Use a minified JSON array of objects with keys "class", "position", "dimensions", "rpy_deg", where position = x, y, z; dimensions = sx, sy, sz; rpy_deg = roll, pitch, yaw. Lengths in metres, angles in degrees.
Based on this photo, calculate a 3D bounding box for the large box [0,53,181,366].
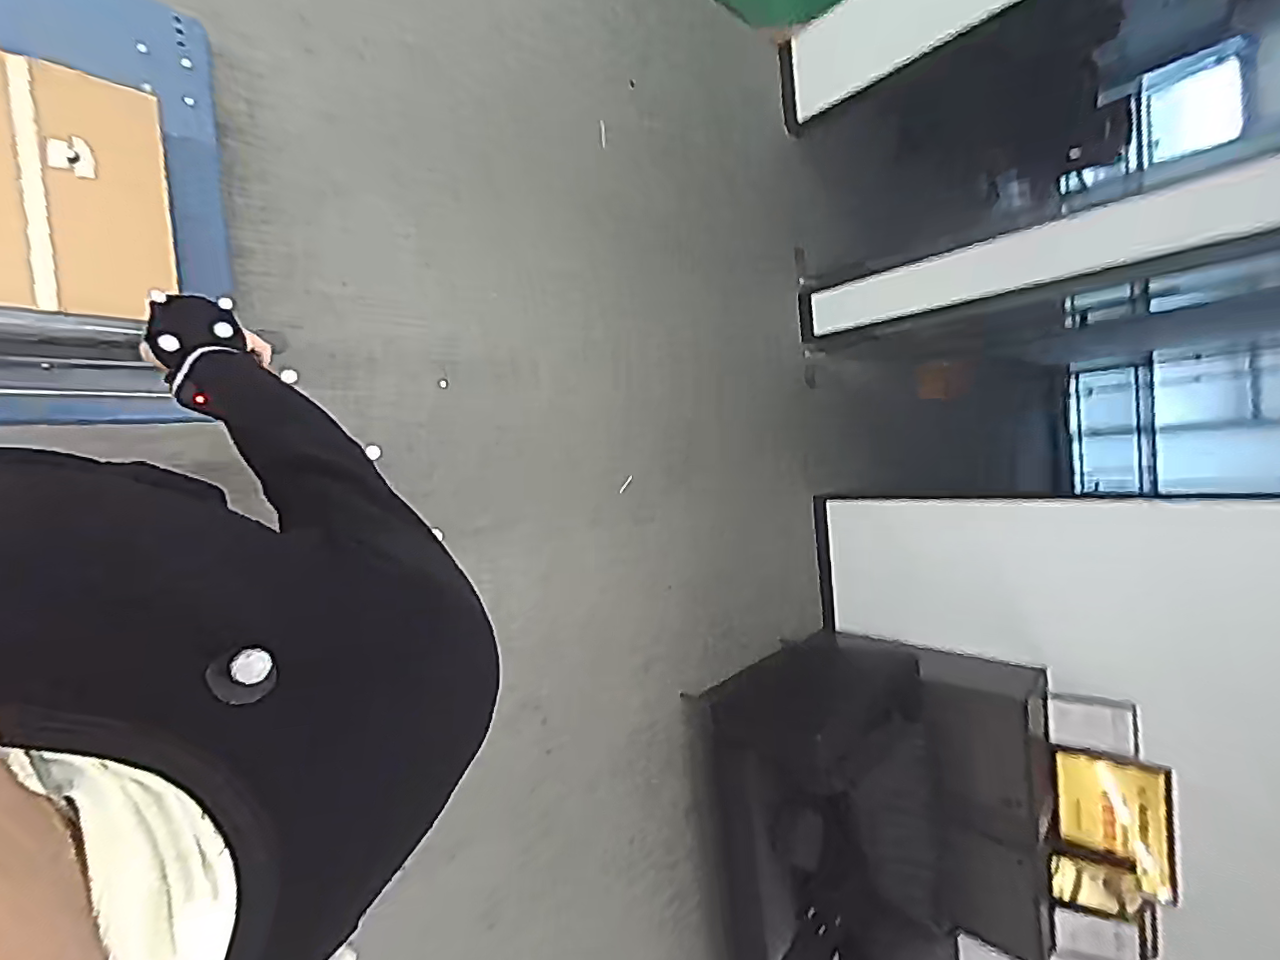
[{"class":"large box","position":[-1.014,-0.424,0.918],"dimensions":[0.320,0.320,0.408],"rpy_deg":[-7,92,-44]}]
